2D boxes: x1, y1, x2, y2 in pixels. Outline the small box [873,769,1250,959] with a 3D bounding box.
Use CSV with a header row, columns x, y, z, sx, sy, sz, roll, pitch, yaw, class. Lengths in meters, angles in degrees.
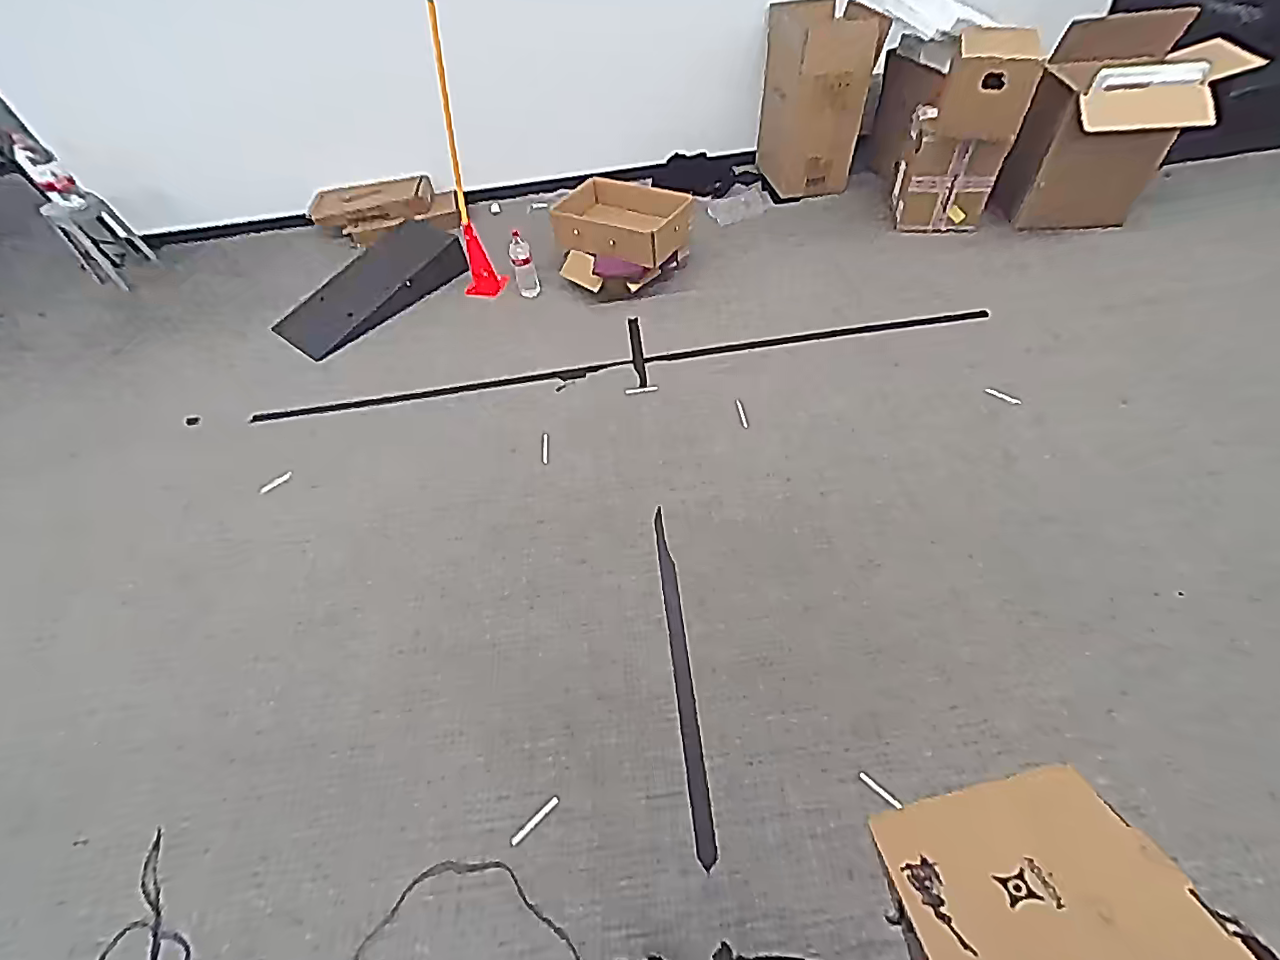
x,y,z,sx,sy,sz,roll,pitch,yaw,class
0.309,0.367,0.412,0.179,0.176,0.168,-19,14,6,small box
